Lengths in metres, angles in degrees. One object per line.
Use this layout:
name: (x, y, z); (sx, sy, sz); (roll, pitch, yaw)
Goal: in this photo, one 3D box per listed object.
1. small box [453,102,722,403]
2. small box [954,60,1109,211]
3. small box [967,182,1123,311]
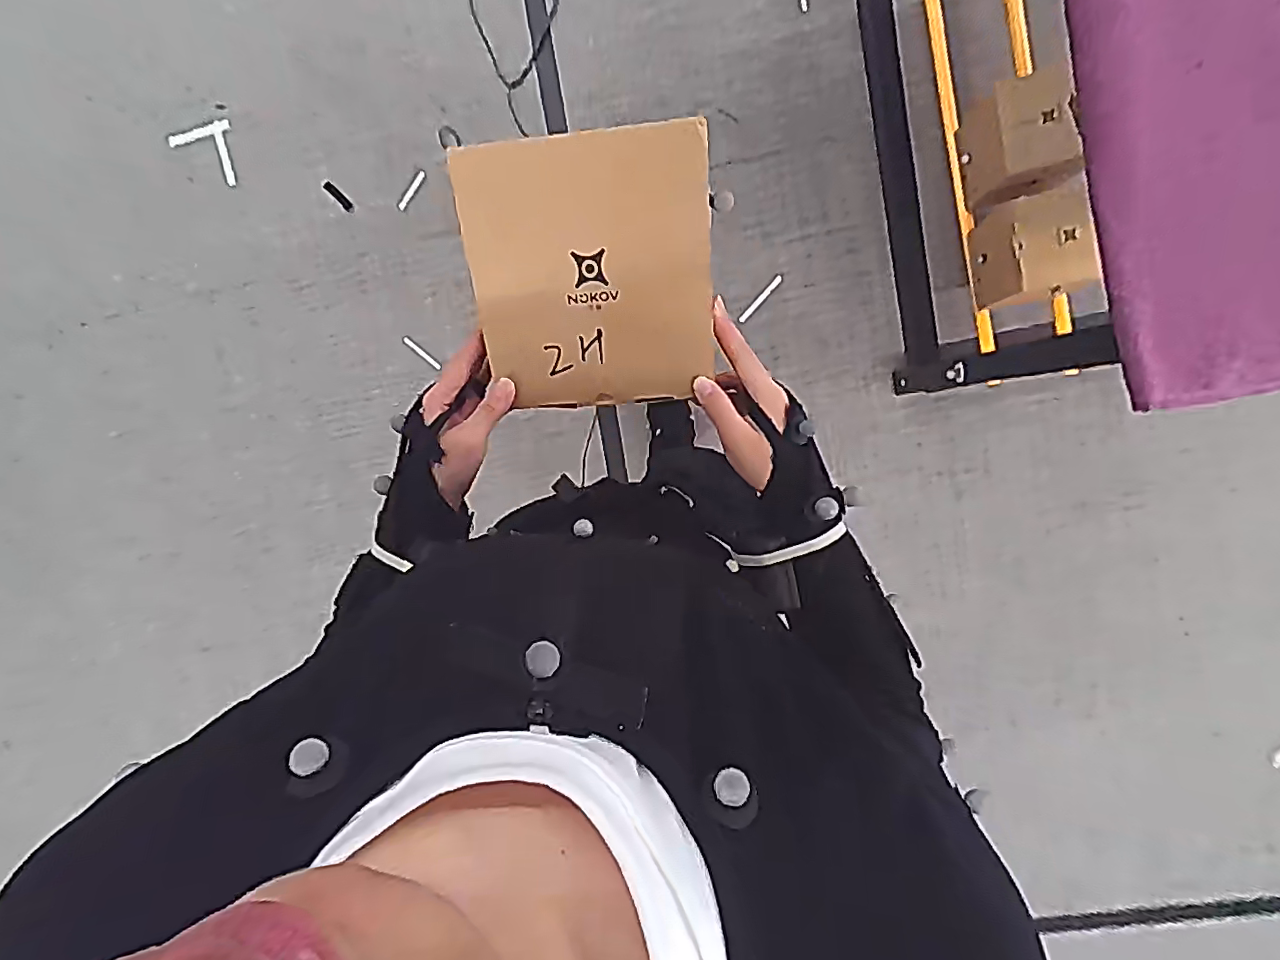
small box: (-0.022, -0.171, 0.429); (0.168, 0.176, 0.179); (-2, 115, 7)
small box: (0.738, -0.646, 1.036); (0.179, 0.176, 0.168); (-11, 94, 8)
small box: (0.775, -0.443, 1.051); (0.179, 0.176, 0.168); (-11, 94, 8)
